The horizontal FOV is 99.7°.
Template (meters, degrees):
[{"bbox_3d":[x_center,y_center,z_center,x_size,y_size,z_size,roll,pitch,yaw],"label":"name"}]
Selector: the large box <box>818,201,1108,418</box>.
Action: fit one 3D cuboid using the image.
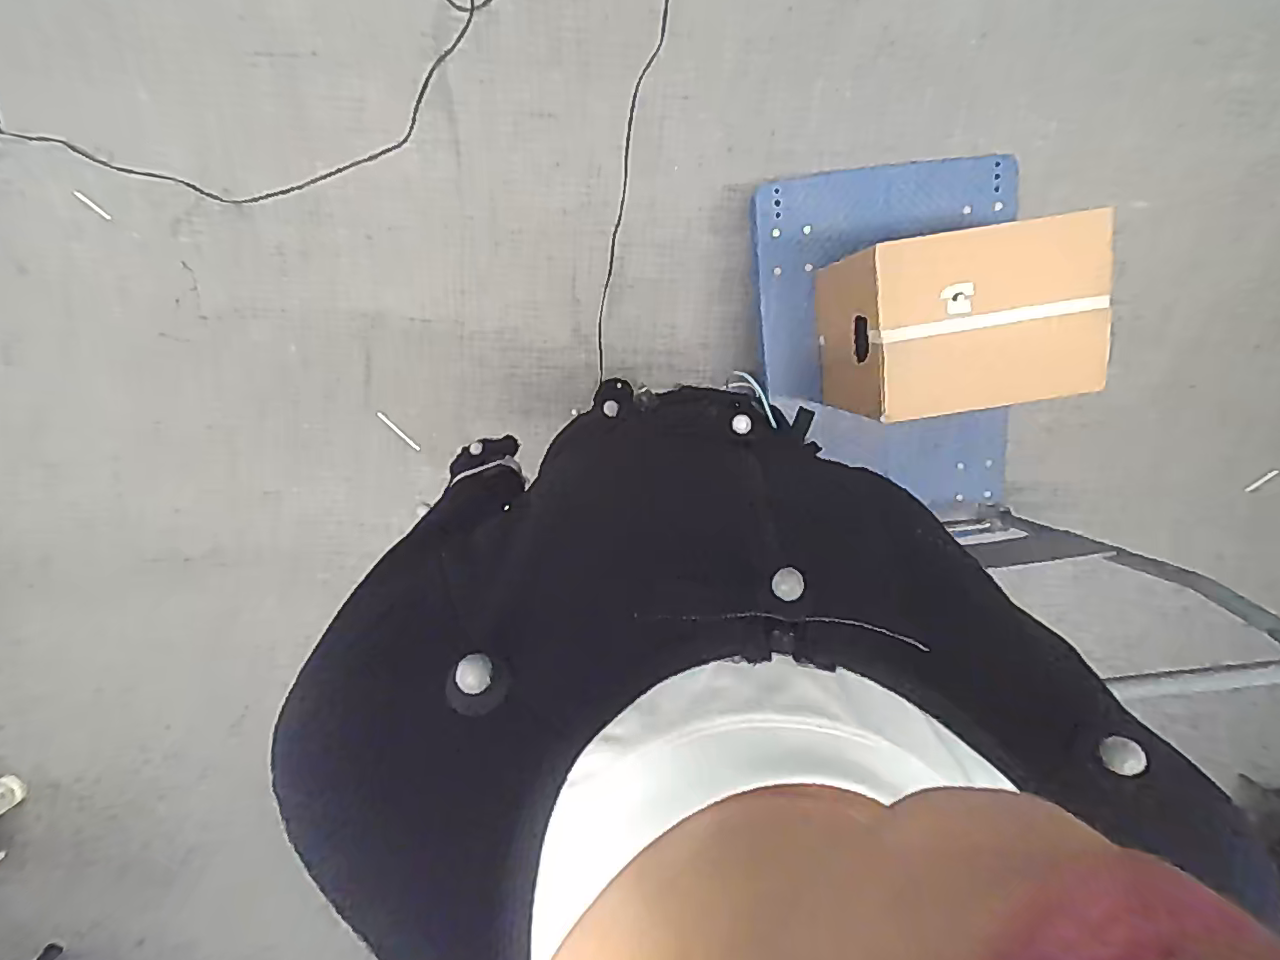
[{"bbox_3d":[0.617,-0.329,1.095,0.408,0.320,0.320,-9,103,2],"label":"large box"}]
